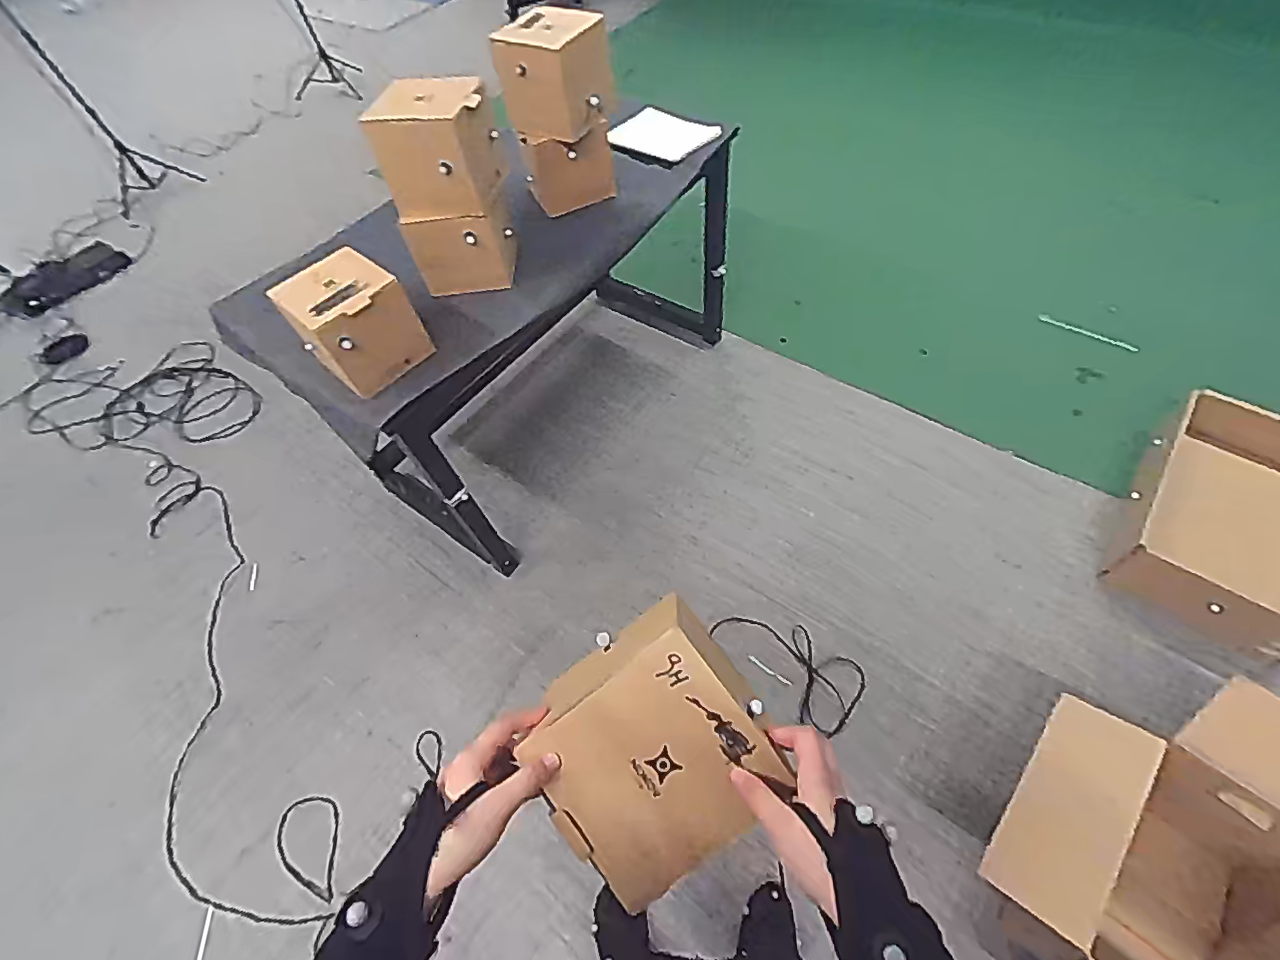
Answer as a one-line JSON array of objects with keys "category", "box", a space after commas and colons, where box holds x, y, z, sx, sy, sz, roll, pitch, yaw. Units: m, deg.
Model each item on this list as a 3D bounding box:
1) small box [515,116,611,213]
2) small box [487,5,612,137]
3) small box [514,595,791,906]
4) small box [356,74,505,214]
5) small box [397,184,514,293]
[{"category": "small box", "box": [-0.177, -0.761, 1.263, 0.179, 0.176, 0.168, -24, 58, -8]}, {"category": "small box", "box": [-0.178, -0.844, 1.120, 0.179, 0.176, 0.168, 26, 64, 20]}, {"category": "small box", "box": [0.014, 0.237, 0.524, 0.179, 0.176, 0.168, -38, 87, 2]}, {"category": "small box", "box": [-0.368, -0.610, 0.991, 0.179, 0.176, 0.168, 4, 57, 9]}, {"category": "small box", "box": [-0.370, -0.514, 1.124, 0.179, 0.176, 0.168, -6, 56, 2]}]
